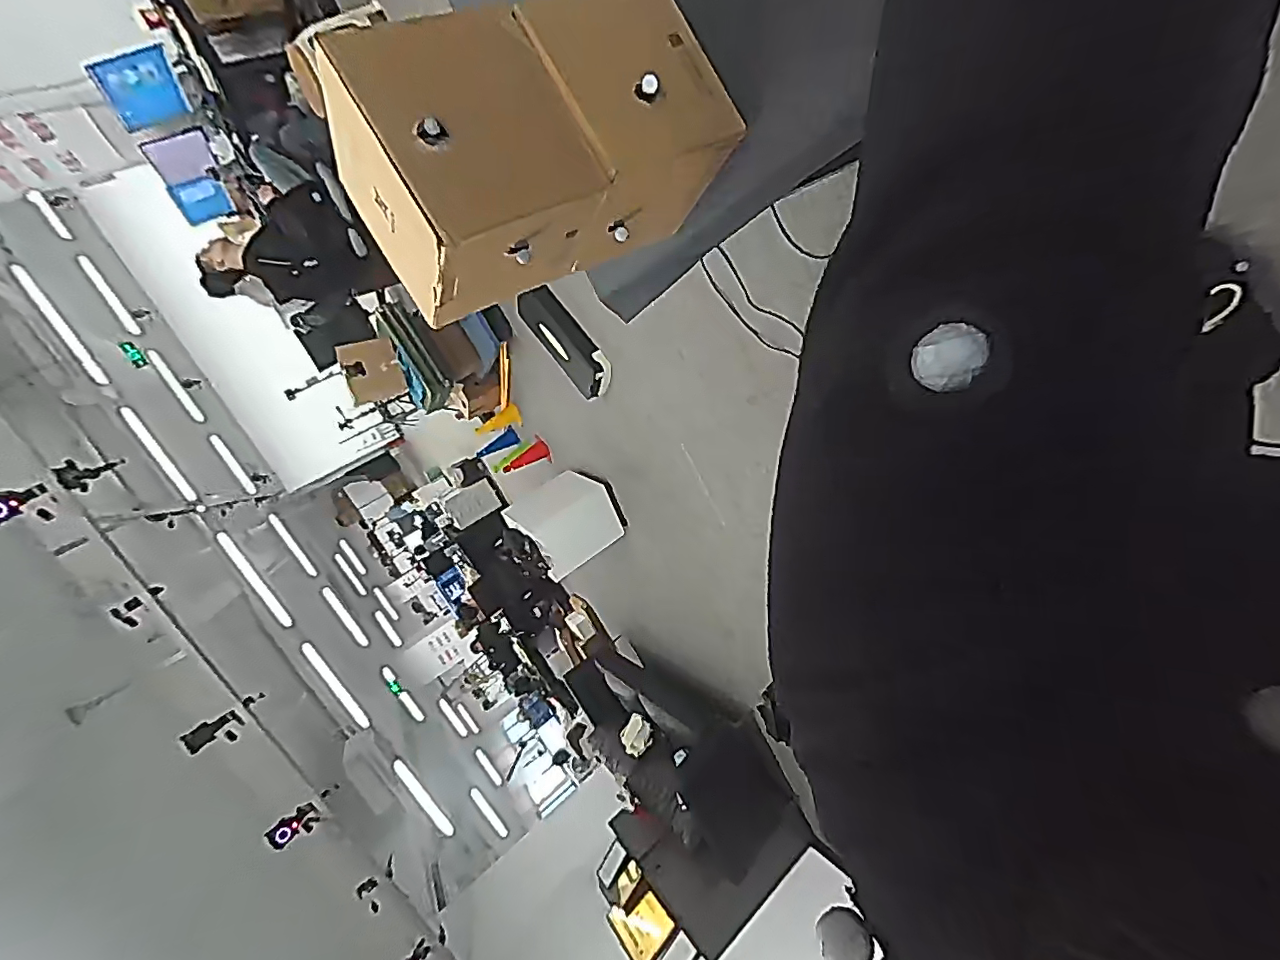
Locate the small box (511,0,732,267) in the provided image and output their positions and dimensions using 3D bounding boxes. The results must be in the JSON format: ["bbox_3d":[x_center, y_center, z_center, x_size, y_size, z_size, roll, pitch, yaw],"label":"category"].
[{"bbox_3d":[-0.029,-0.365,0.564,0.168,0.176,0.179,58,158,-3],"label":"small box"}]

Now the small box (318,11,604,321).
[{"bbox_3d":[-0.159,-0.285,0.506,0.179,0.176,0.168,60,156,-5],"label":"small box"}]
